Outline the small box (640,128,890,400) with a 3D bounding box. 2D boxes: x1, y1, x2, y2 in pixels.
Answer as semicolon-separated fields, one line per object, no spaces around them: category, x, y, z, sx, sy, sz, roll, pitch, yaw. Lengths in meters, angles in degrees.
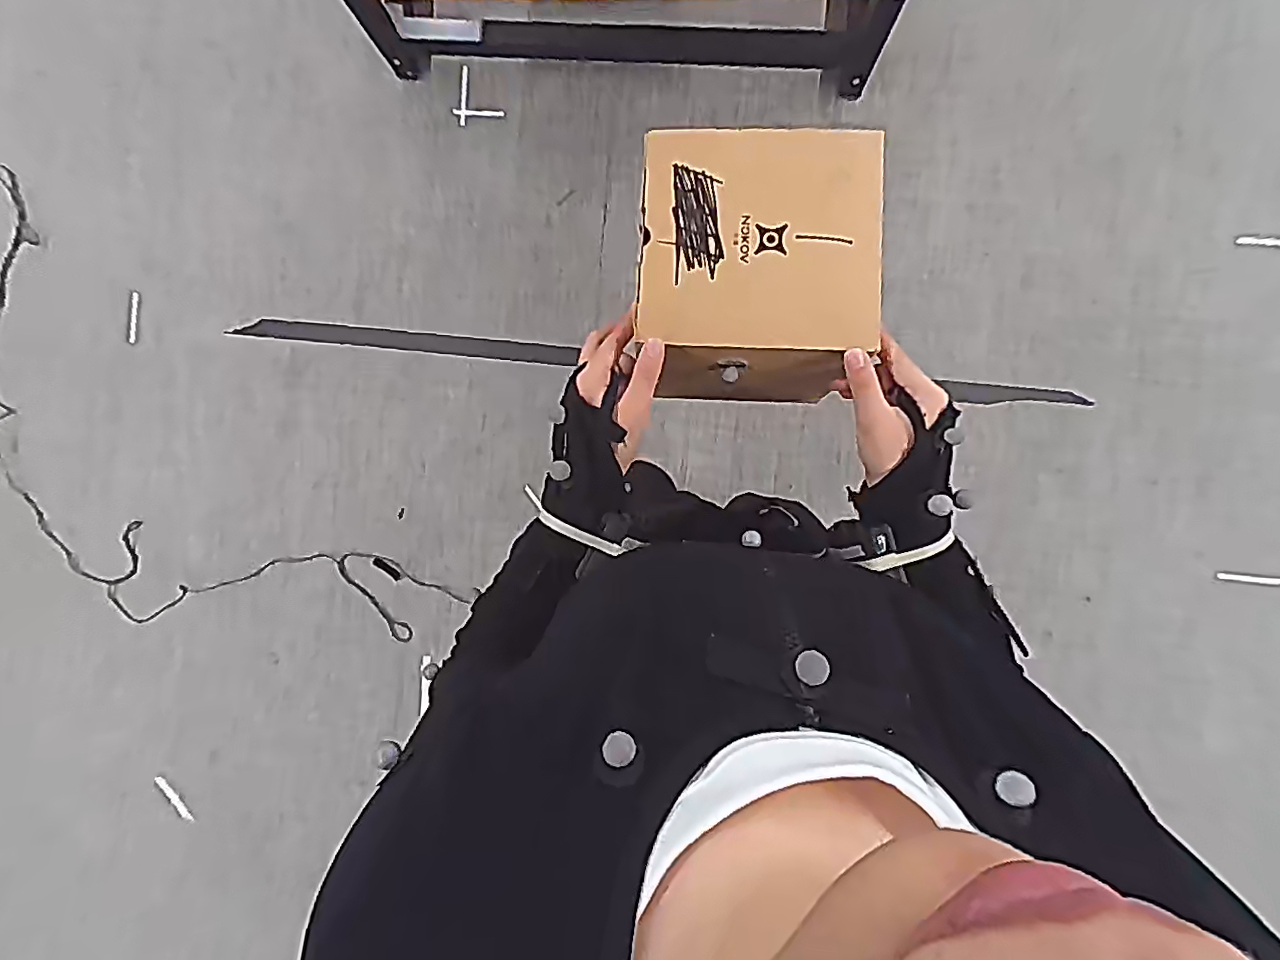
small box;0.096;-0.169;0.471;0.179;0.176;0.168;3;86;4
